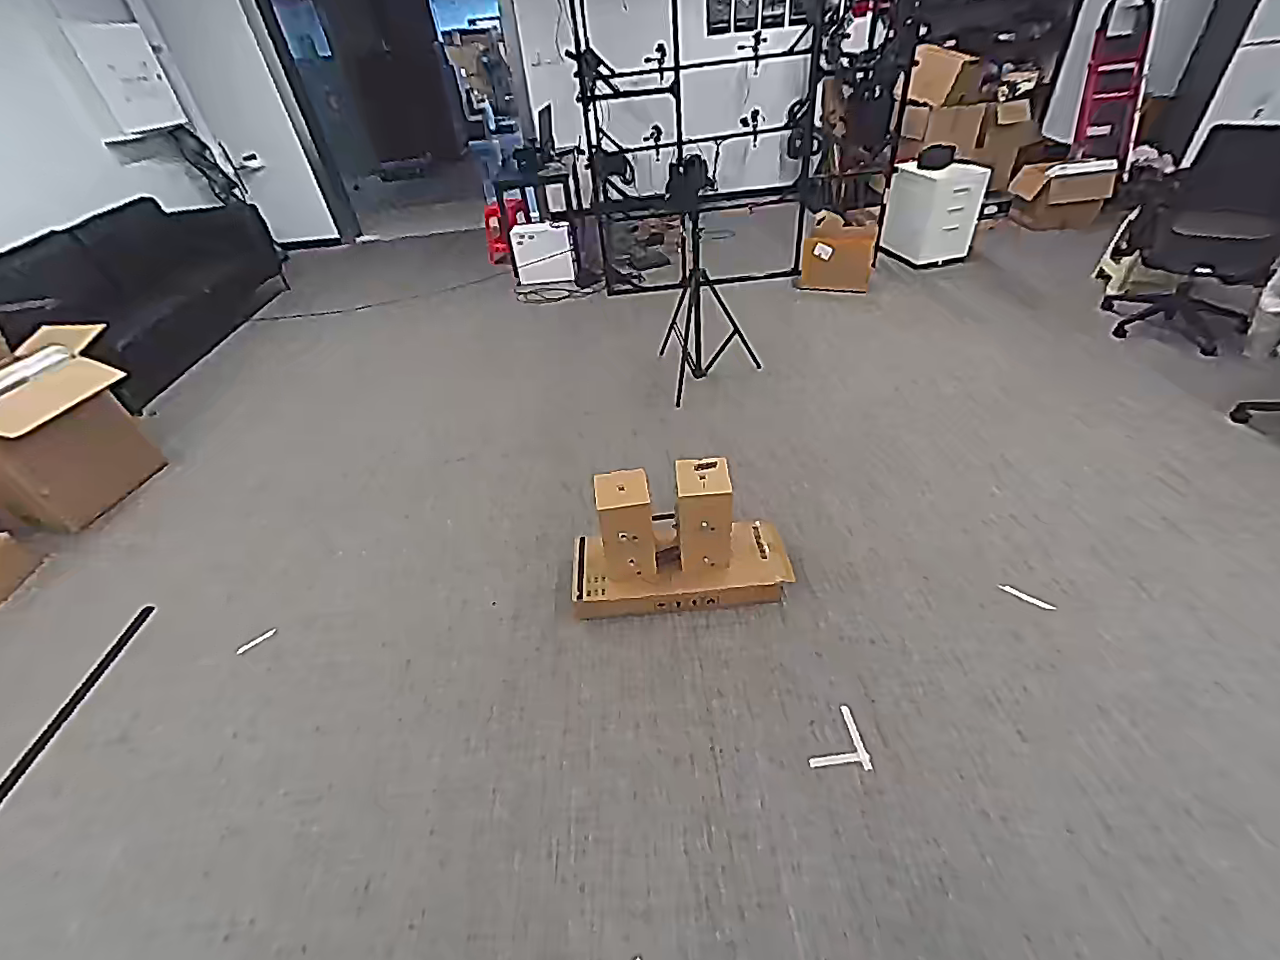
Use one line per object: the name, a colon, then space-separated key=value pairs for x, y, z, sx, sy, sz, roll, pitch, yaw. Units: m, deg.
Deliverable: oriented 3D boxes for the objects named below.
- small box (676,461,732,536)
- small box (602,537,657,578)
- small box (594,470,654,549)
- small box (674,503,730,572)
small box: x=0.203 y=0.059 z=1.741 sx=0.168 sy=0.176 sz=0.179 roll=-5 pitch=39 yaw=3
small box: x=-0.037 y=0.219 z=1.839 sx=0.168 sy=0.176 sz=0.179 roll=-8 pitch=40 yaw=-1
small box: x=-0.051 y=0.095 z=1.734 sx=0.168 sy=0.176 sz=0.179 roll=-10 pitch=40 yaw=-3
small box: x=0.209 y=0.189 z=1.842 sx=0.168 sy=0.176 sz=0.179 roll=-7 pitch=39 yaw=0
